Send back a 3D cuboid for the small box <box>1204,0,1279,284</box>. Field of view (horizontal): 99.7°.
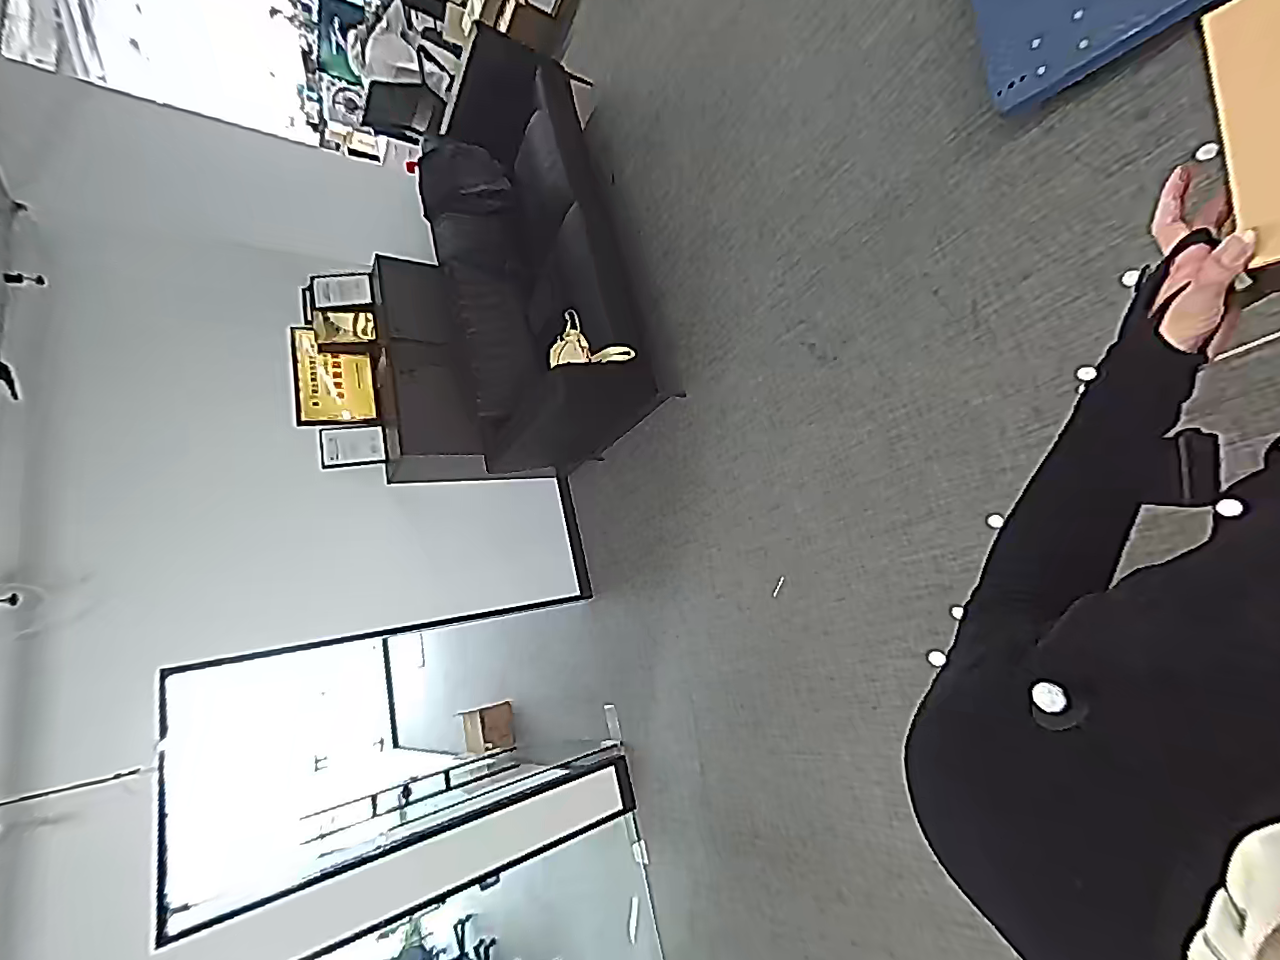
[{"bbox_3d":[0.508,-0.248,0.357,0.168,0.176,0.179,-8,91,53],"label":"small box"}]
